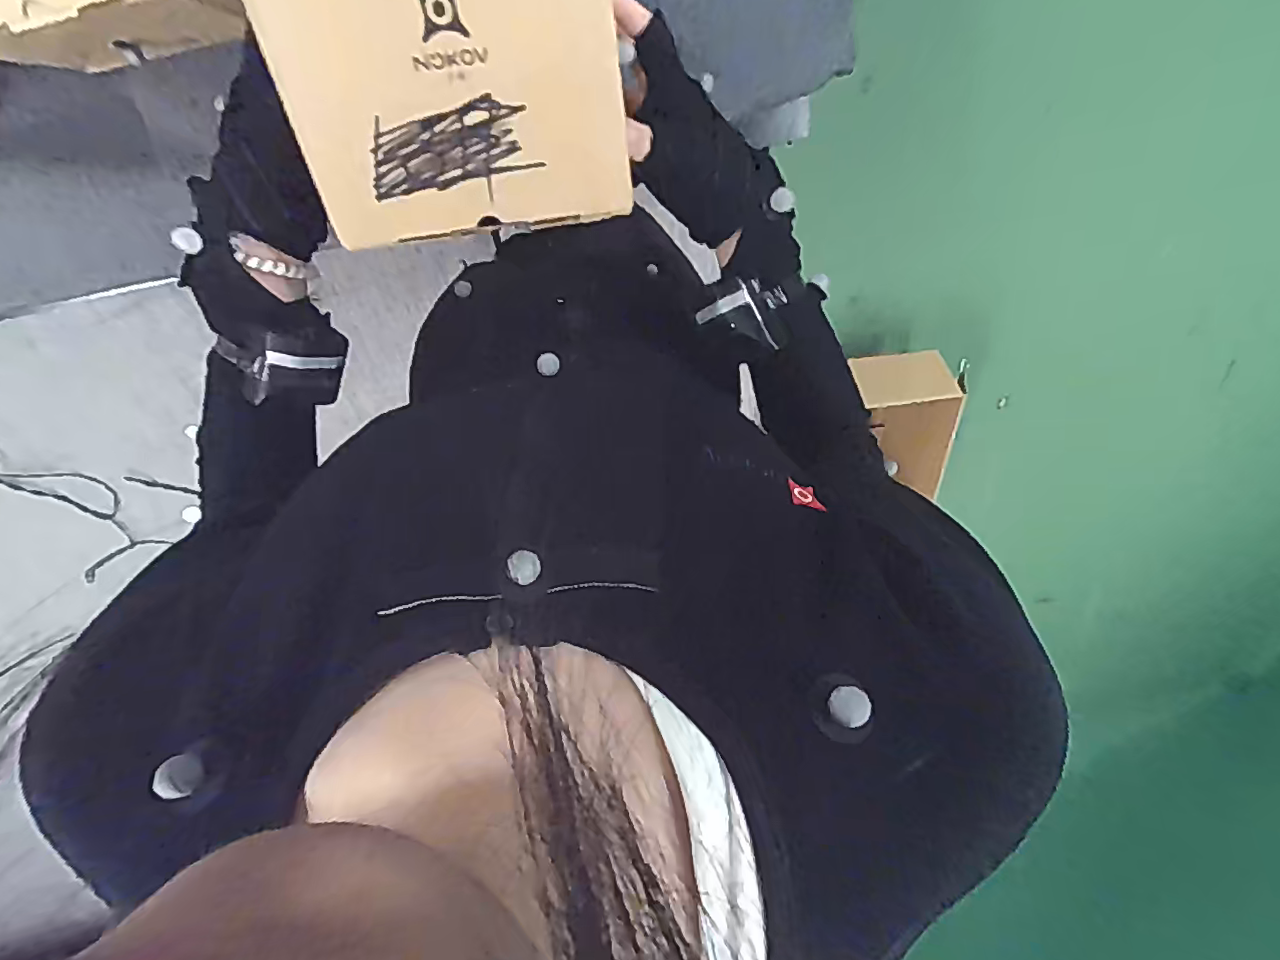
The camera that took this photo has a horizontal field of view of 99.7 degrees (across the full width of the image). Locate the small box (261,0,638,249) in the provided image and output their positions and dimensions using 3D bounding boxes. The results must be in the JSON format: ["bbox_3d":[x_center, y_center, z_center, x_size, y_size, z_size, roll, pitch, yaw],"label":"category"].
[{"bbox_3d":[-0.097,-0.255,0.322,0.168,0.176,0.179,-9,125,-4],"label":"small box"}]

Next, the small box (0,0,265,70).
[{"bbox_3d":[-0.401,-0.399,0.356,0.168,0.176,0.179,-16,126,-2],"label":"small box"}]
